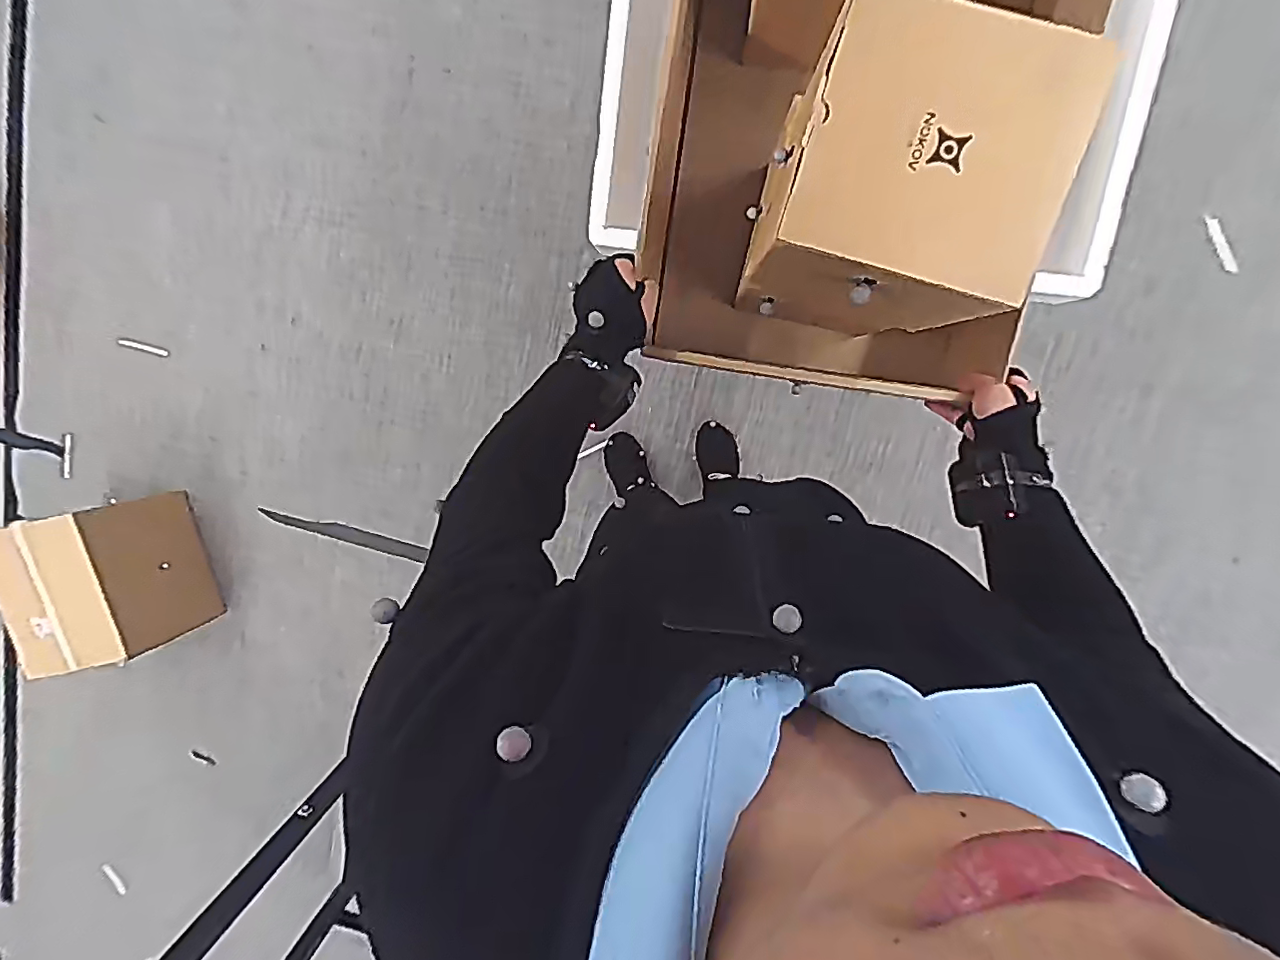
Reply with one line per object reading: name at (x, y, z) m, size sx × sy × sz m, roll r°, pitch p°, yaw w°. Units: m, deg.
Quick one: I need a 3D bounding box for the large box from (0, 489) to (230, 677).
large box at (-1.480, 0.274, 1.531) m, size 0.320 × 0.320 × 0.408 m, roll -12°, pitch 99°, yaw 8°

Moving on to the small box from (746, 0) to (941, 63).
small box at (0.210, -0.542, 0.524) m, size 0.179 × 0.176 × 0.168 m, roll 6°, pitch 103°, yaw 3°
